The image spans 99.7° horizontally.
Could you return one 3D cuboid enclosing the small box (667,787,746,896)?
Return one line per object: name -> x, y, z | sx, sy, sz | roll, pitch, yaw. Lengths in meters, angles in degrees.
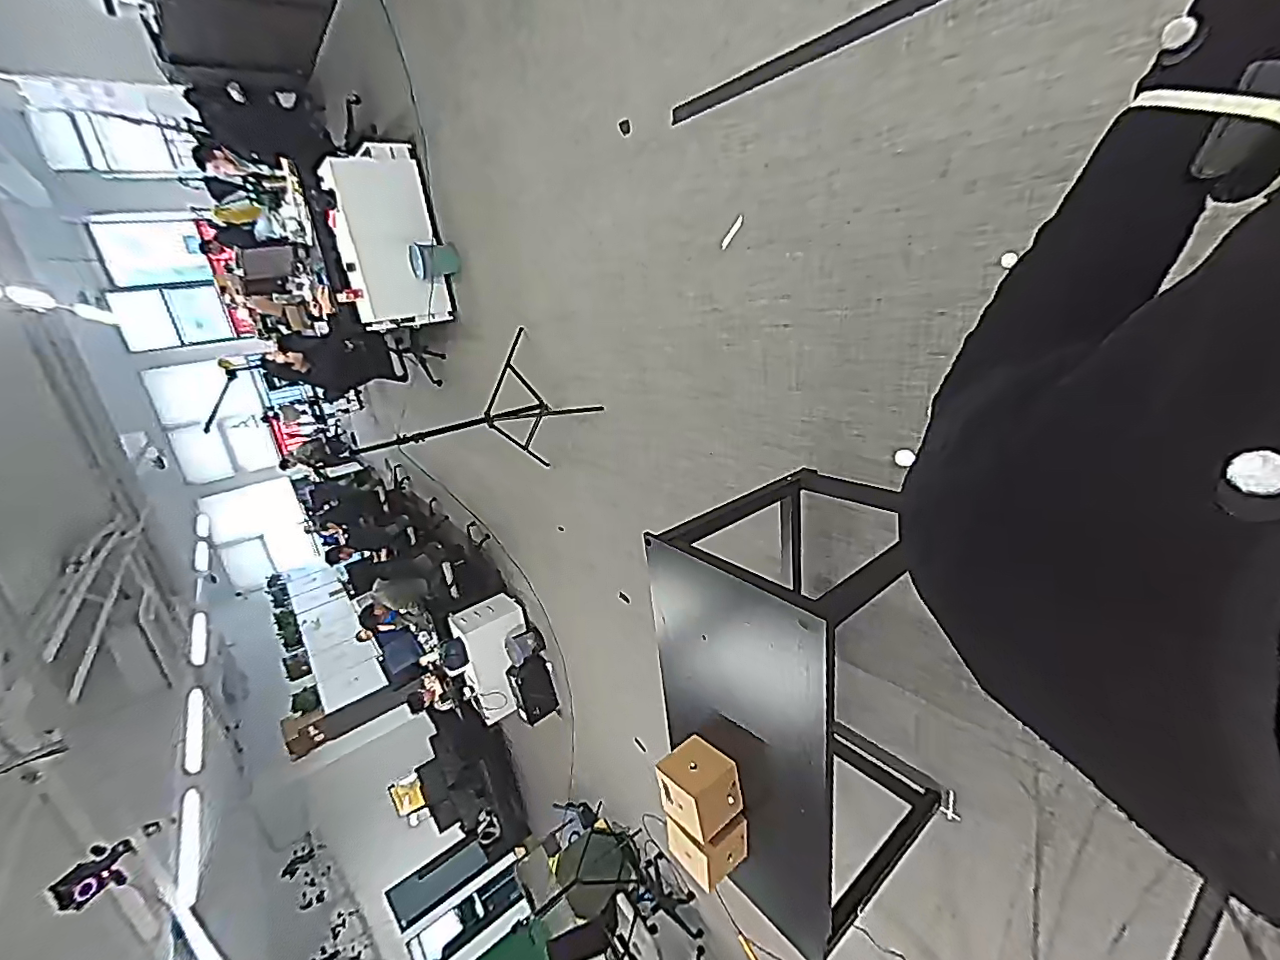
small box -> 0.202, 1.074, 1.622 | 0.179, 0.176, 0.168 | 23, 125, 49
